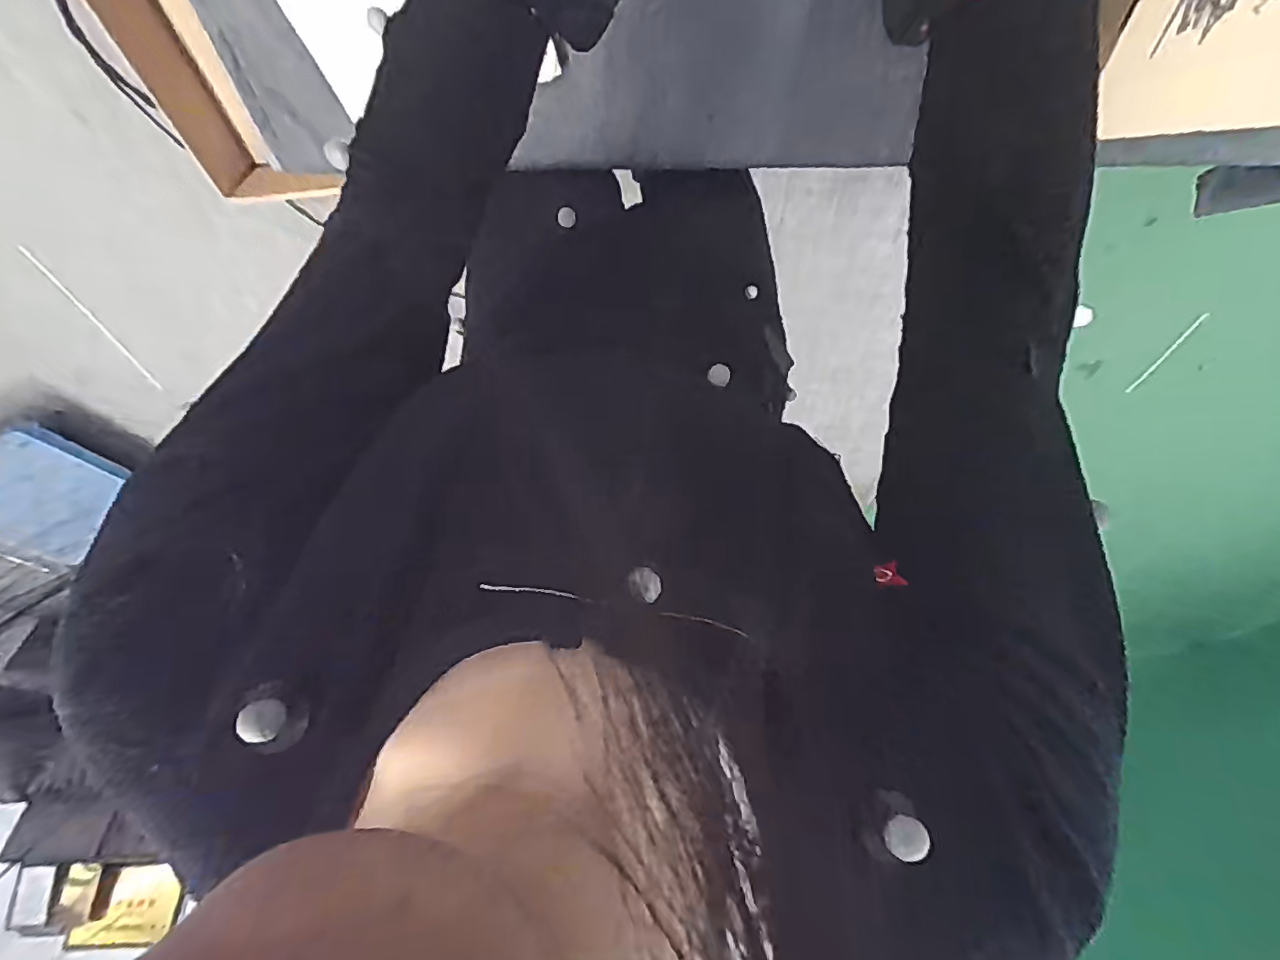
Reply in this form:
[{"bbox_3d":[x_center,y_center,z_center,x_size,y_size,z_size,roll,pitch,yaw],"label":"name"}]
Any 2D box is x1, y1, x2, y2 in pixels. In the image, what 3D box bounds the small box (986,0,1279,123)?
[{"bbox_3d":[0.368,-0.356,0.346,0.179,0.176,0.168,-4,143,1],"label":"small box"}]
